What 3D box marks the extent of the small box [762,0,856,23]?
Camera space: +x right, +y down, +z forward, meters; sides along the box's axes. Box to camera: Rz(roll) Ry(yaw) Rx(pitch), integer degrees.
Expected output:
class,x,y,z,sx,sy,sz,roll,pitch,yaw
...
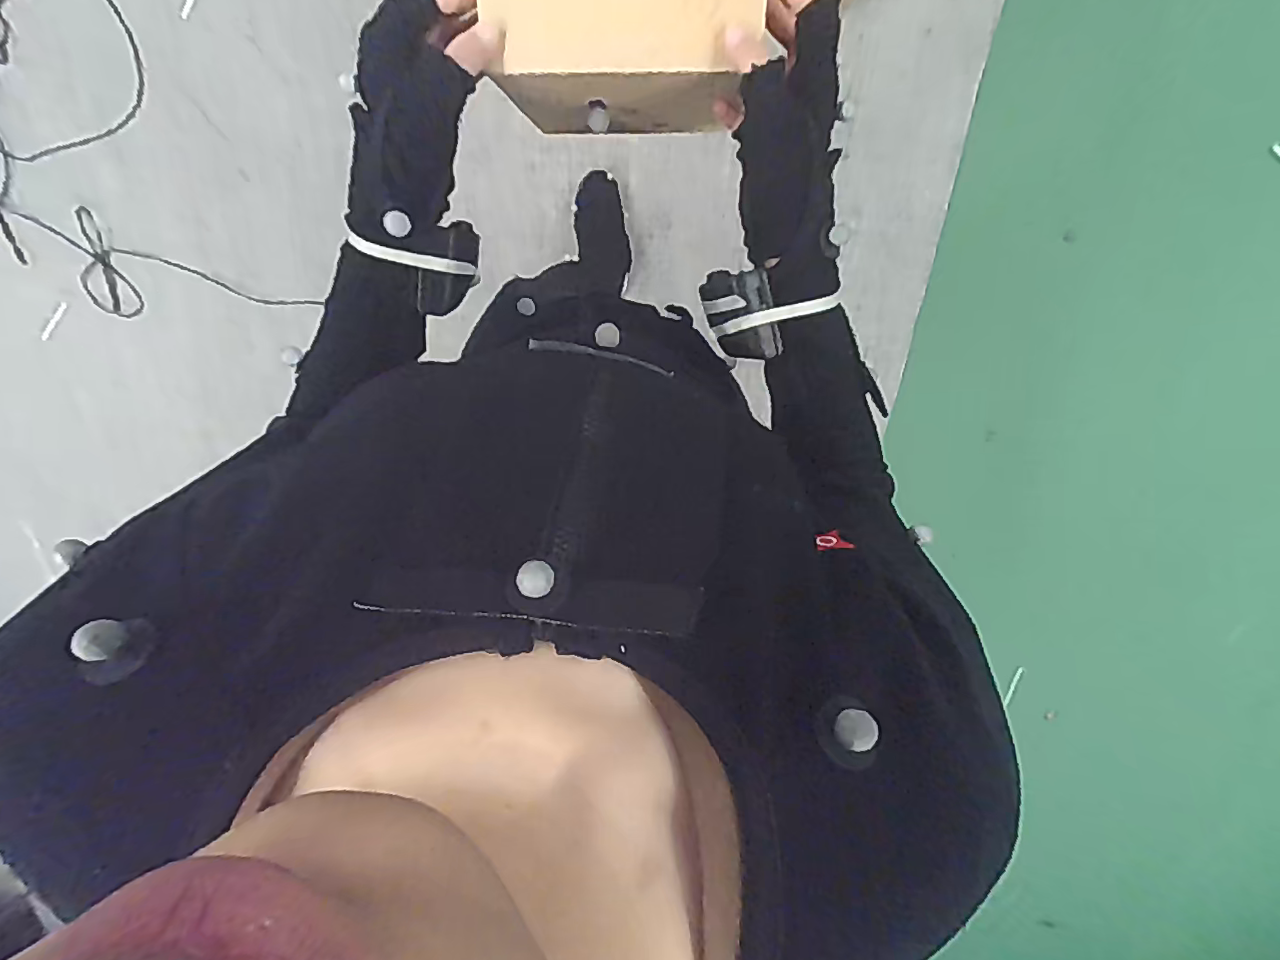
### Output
class,x,y,z,sx,sy,sz,roll,pitch,yaw
small box,0.332,-0.994,1.001,0.168,0.176,0.179,4,115,-1
